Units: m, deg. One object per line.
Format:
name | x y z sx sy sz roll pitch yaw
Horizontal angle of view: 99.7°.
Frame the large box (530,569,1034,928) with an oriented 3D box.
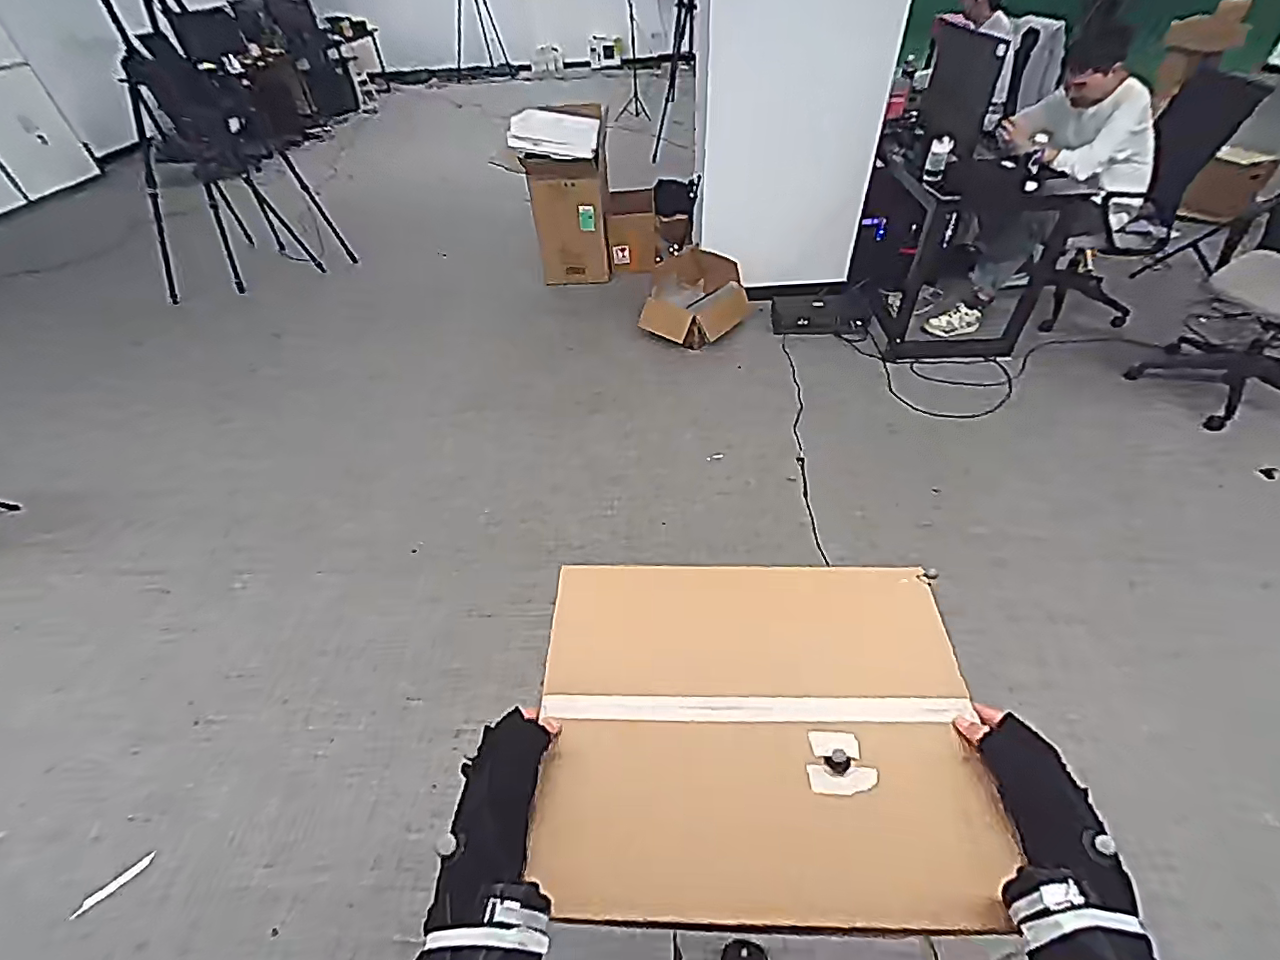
large box | 0.113 0.316 0.630 0.408 0.320 0.320 0 50 2
